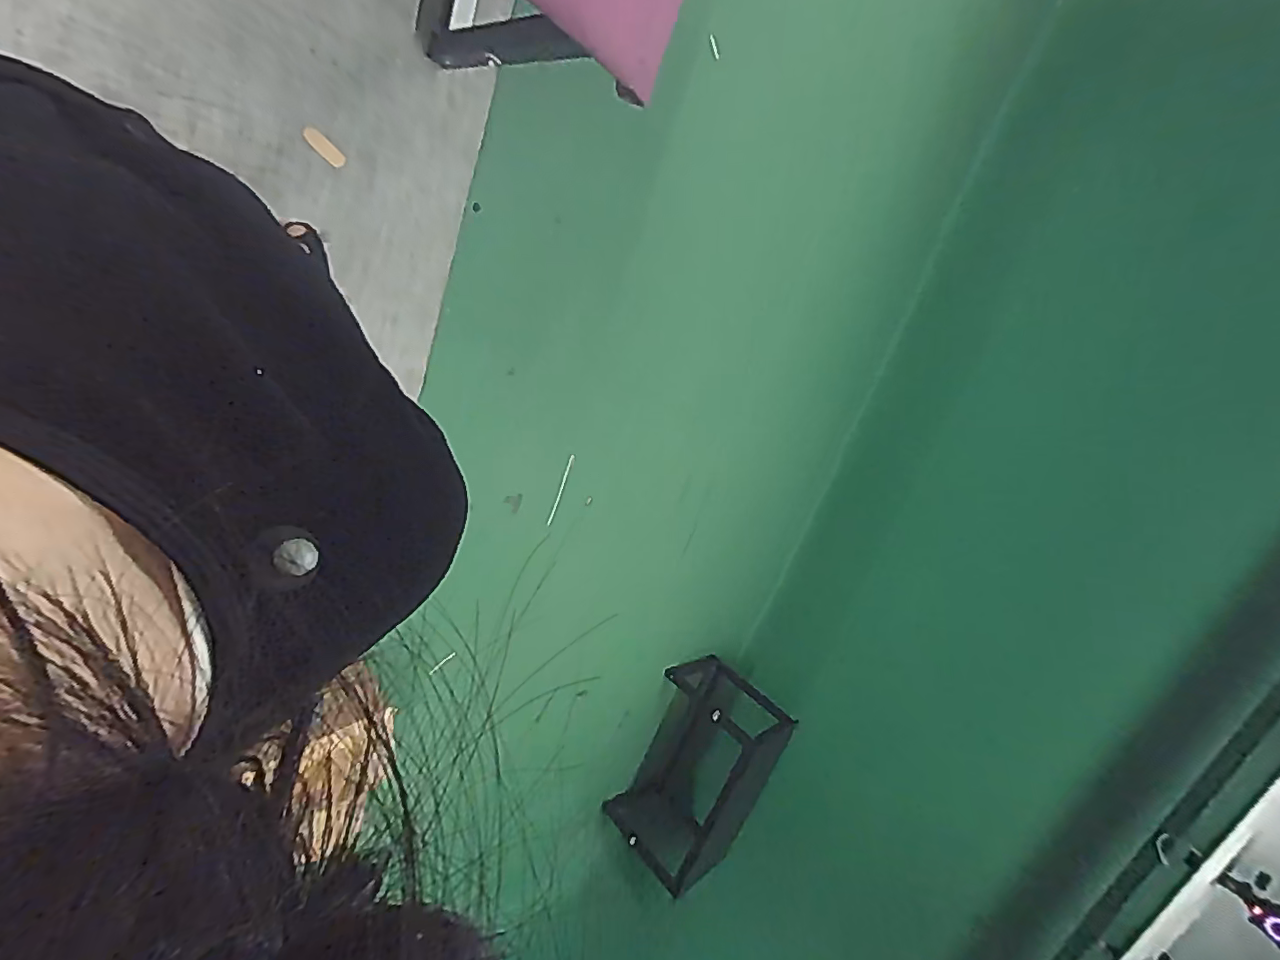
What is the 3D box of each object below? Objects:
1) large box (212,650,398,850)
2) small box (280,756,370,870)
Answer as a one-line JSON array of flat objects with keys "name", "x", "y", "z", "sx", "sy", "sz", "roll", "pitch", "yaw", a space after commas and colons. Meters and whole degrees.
[{"name": "large box", "x": -1.015, "y": 0.800, "z": 1.663, "sx": 0.408, "sy": 0.320, "sz": 0.320, "roll": -16, "pitch": 127, "yaw": -43}, {"name": "small box", "x": -0.870, "y": 0.908, "z": 1.494, "sx": 0.179, "sy": 0.176, "sz": 0.168, "roll": -11, "pitch": 120, "yaw": -43}]
